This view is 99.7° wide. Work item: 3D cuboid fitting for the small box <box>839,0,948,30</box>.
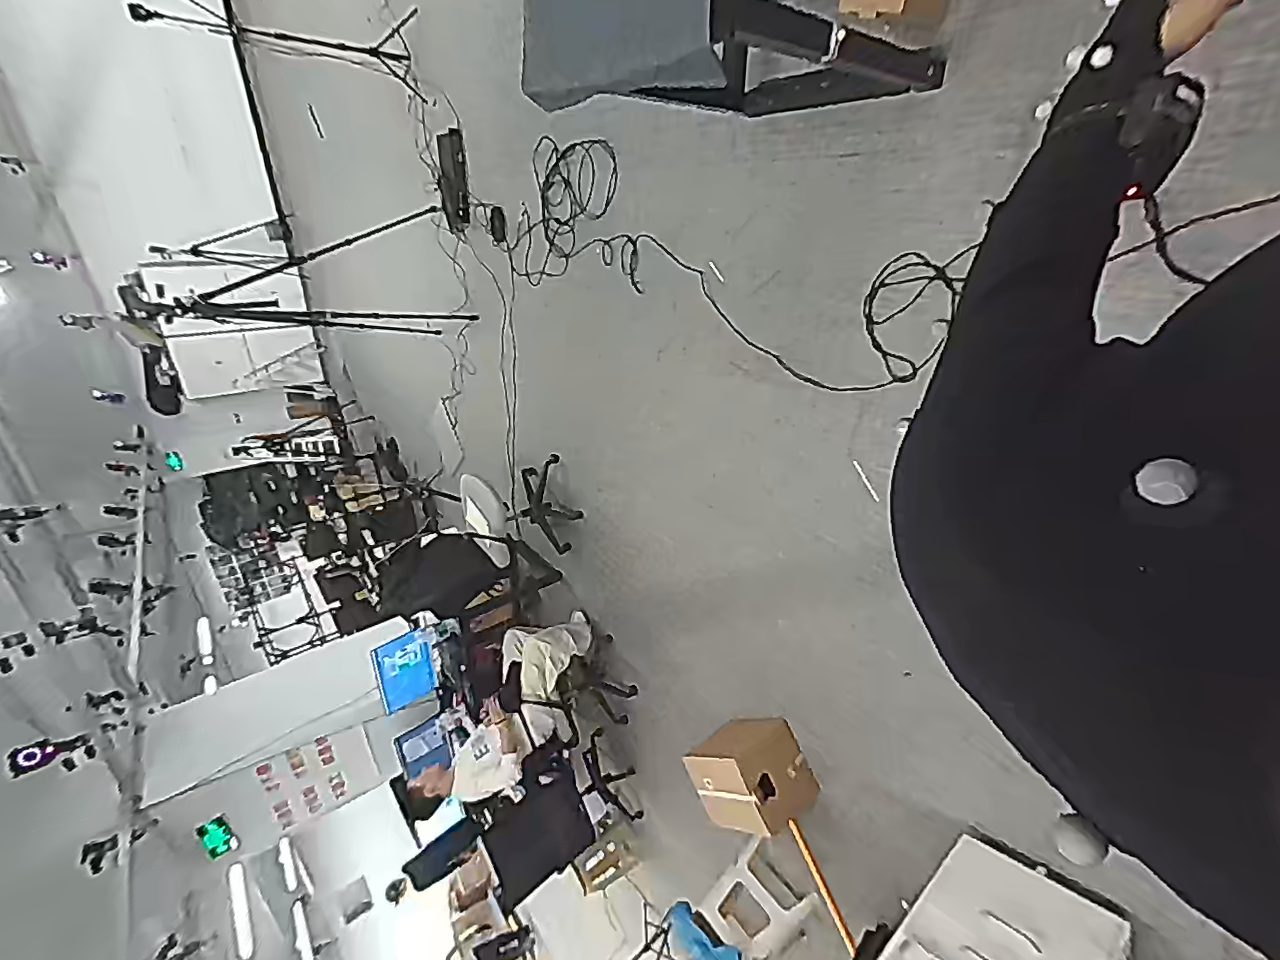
[{"bbox_3d":[0.573,-1.103,1.174,0.168,0.176,0.179,41,136,35],"label":"small box"}]
